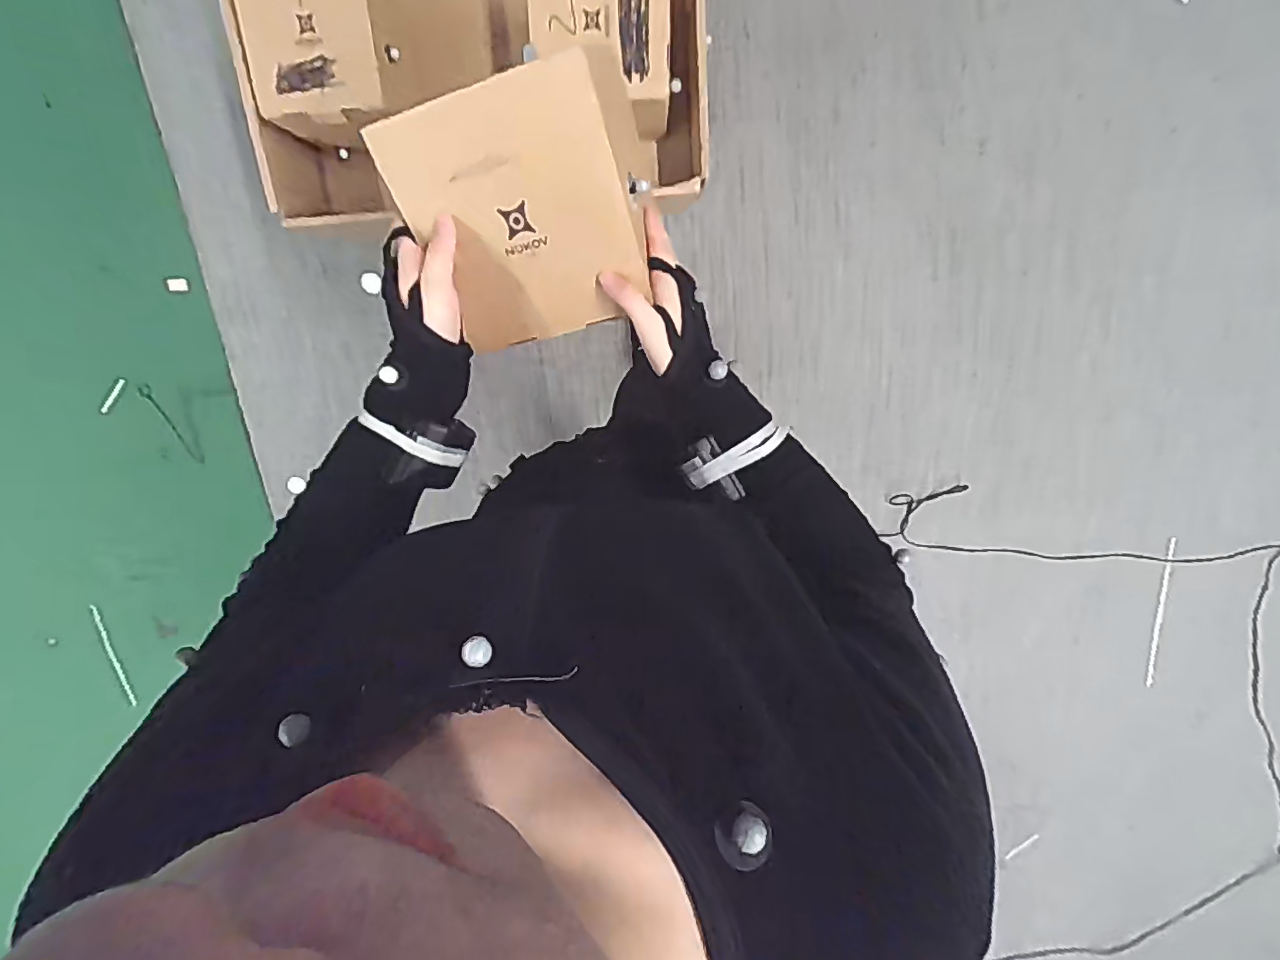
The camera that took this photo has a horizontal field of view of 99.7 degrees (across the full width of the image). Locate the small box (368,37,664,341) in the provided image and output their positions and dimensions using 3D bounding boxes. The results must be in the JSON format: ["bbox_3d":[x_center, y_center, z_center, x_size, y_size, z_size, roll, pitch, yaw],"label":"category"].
[{"bbox_3d":[-0.080,-0.247,0.462,0.168,0.176,0.179,-9,126,14],"label":"small box"}]
